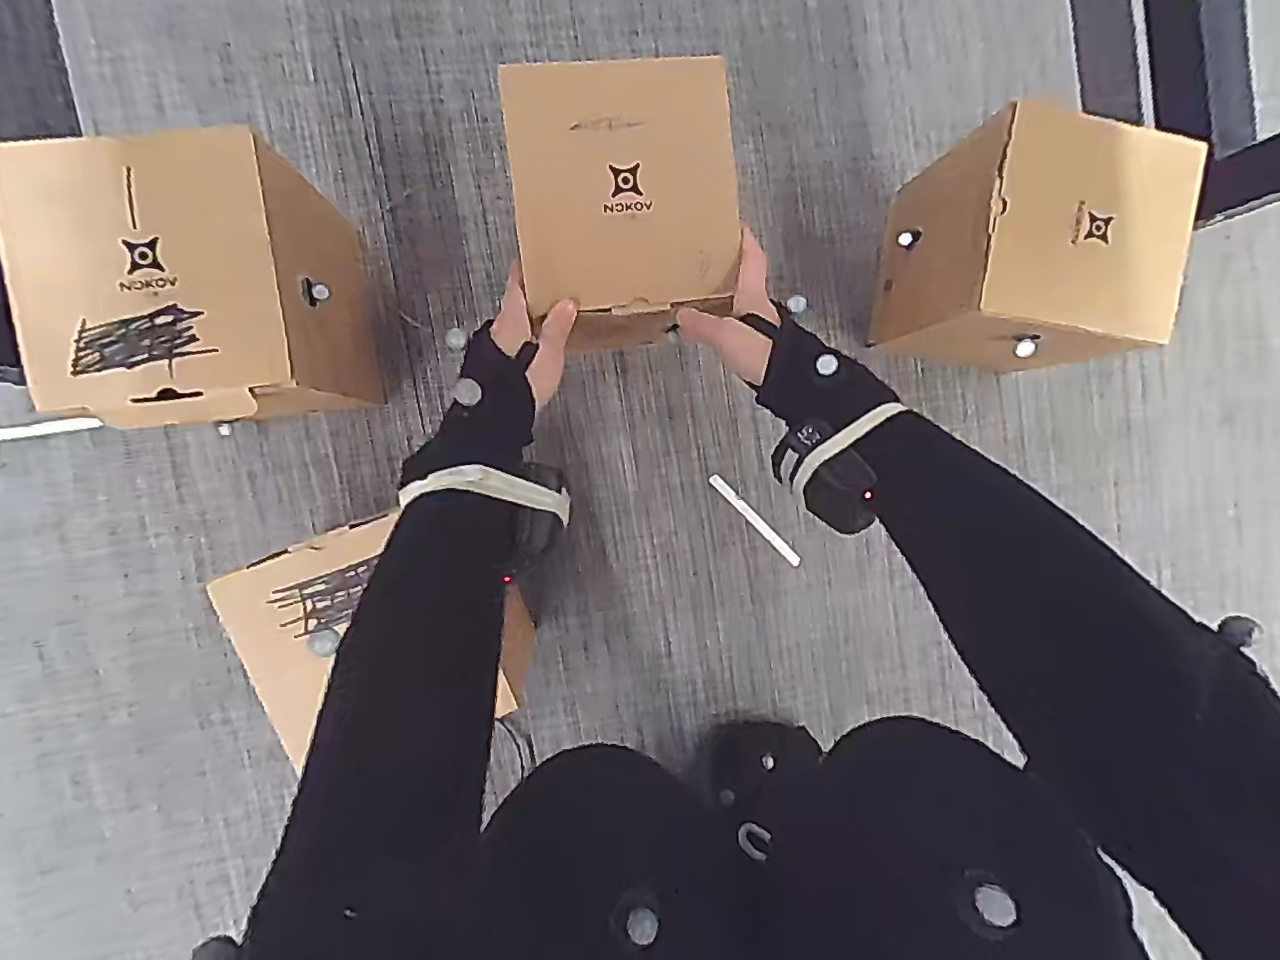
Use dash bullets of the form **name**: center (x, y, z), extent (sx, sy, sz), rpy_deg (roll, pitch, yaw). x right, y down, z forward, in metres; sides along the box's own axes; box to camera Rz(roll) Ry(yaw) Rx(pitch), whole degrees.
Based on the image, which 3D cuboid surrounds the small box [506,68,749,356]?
- **small box**: center (-0.014, -0.210, 0.472), extent (0.168, 0.176, 0.179), rpy_deg (-7, 93, -7)

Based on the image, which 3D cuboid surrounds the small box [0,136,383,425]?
- **small box**: center (-0.329, -0.139, 0.439), extent (0.168, 0.176, 0.179), rpy_deg (-8, 93, -6)

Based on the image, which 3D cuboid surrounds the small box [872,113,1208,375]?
- **small box**: center (0.356, -0.199, 0.513), extent (0.179, 0.176, 0.168), rpy_deg (8, 93, -6)
